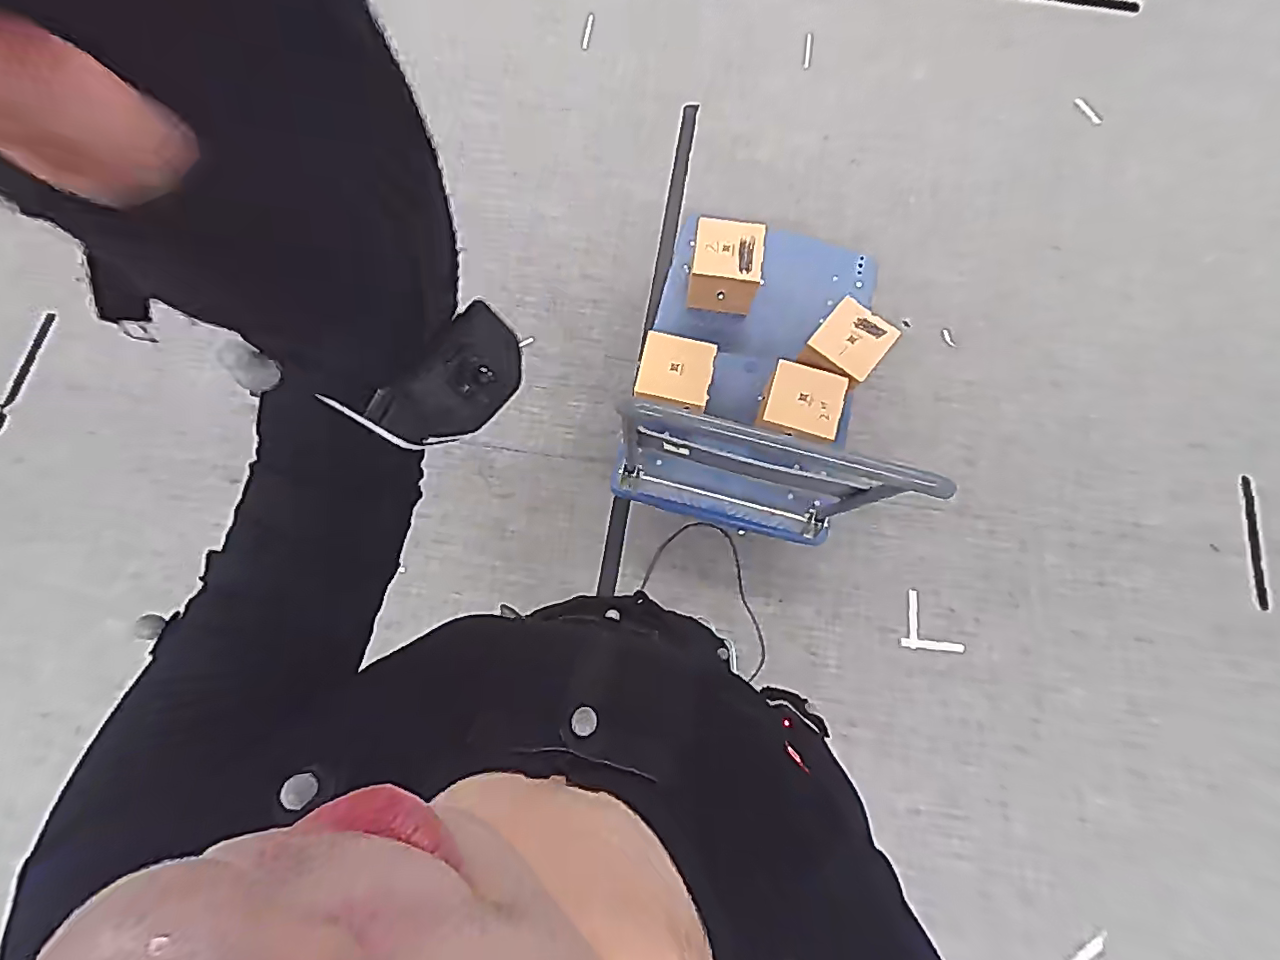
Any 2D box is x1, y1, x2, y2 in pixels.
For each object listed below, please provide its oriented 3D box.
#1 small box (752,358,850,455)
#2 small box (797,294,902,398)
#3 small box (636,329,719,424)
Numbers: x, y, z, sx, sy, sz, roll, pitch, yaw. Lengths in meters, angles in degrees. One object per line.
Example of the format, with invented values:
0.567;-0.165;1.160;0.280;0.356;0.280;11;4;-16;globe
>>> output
0.396;-0.177;1.359;0.179;0.176;0.168;18;78;4;small box
0.526;-0.332;1.395;0.168;0.176;0.179;39;81;8;small box
0.089;-0.256;1.377;0.179;0.176;0.168;13;78;1;small box
